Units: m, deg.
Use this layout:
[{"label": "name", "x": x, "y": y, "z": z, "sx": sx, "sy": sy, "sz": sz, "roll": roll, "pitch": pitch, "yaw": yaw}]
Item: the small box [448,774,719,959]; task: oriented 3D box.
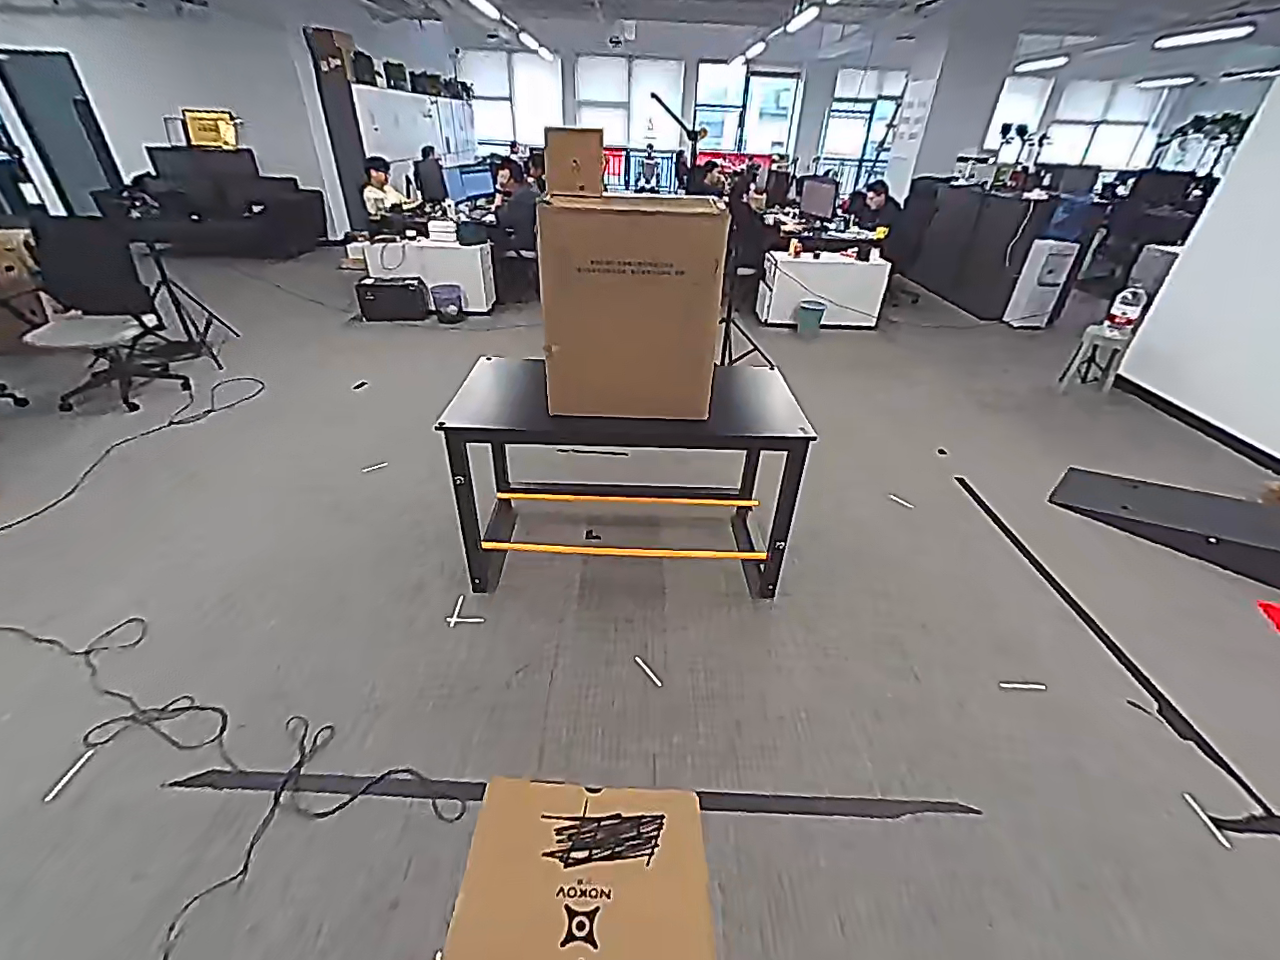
[{"label": "small box", "x": -0.040, "y": 0.348, "z": 0.384, "sx": 0.168, "sy": 0.176, "sz": 0.179, "roll": 5, "pitch": 26, "yaw": -2}]

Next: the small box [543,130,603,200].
[{"label": "small box", "x": -0.193, "y": -0.930, "z": 1.596, "sx": 0.168, "sy": 0.176, "sz": 0.179, "roll": 0, "pitch": 32, "yaw": -5}]
